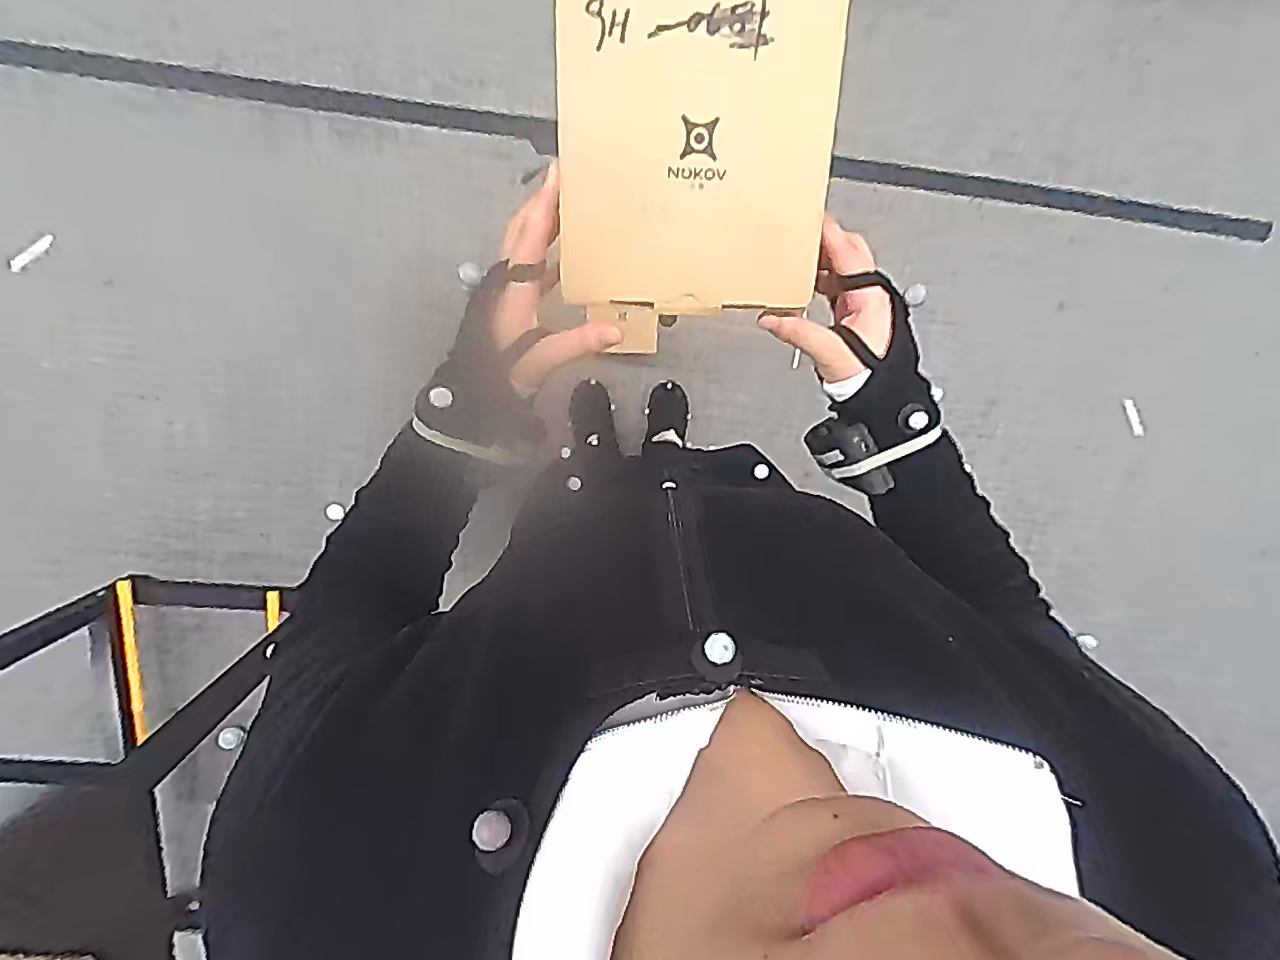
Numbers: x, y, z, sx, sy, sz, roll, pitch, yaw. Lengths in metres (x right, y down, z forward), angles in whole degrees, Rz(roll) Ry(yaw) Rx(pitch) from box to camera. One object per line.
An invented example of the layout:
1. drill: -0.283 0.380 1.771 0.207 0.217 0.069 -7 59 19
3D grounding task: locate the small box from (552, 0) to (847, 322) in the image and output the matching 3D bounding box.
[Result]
1. small box: 0.028 -0.216 0.398 0.168 0.176 0.179 0 110 -4

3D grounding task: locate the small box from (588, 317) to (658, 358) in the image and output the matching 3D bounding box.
1. small box: -0.043 -0.392 1.322 0.168 0.176 0.179 0 105 -3
